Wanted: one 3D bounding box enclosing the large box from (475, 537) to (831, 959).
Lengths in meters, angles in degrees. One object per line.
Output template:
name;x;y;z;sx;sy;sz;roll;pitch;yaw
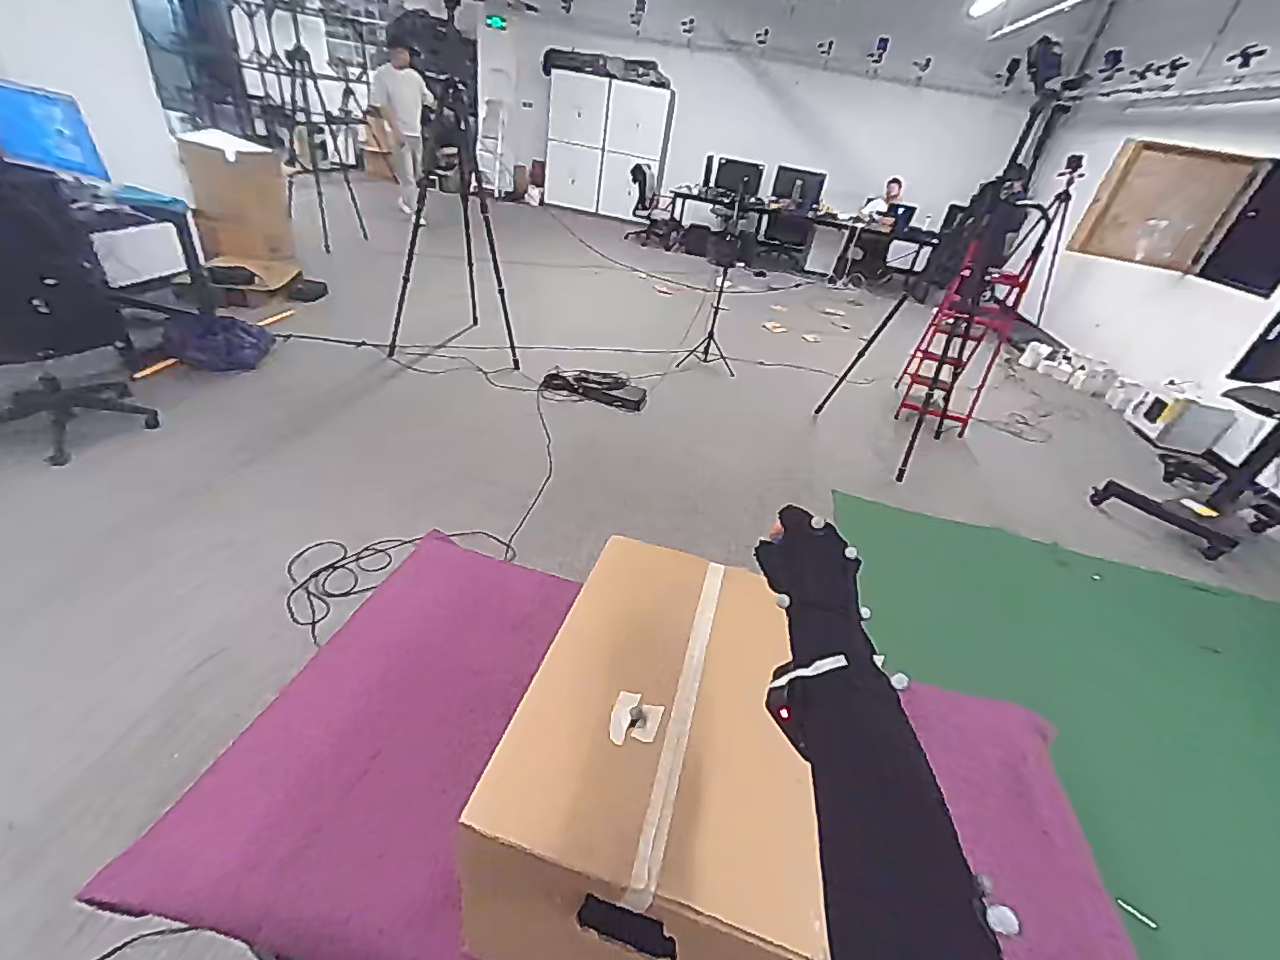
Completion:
large box;0.028;0.346;0.679;0.320;0.320;0.408;16;35;8
